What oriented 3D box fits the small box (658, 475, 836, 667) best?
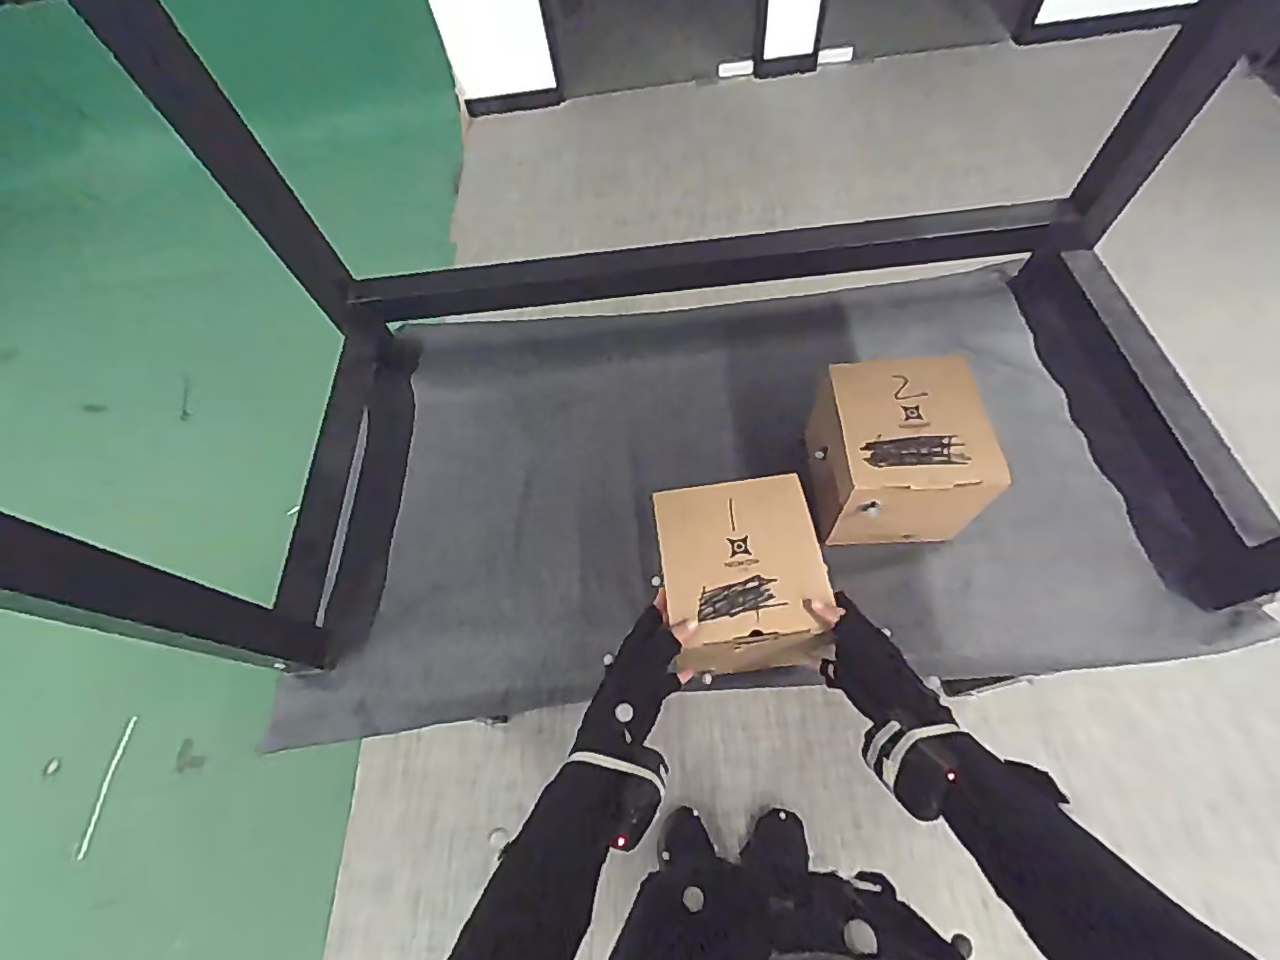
[{"bbox_3d":[0.118,0.118,0.649,0.168,0.176,0.179,-8,58,3],"label":"small box"}]
